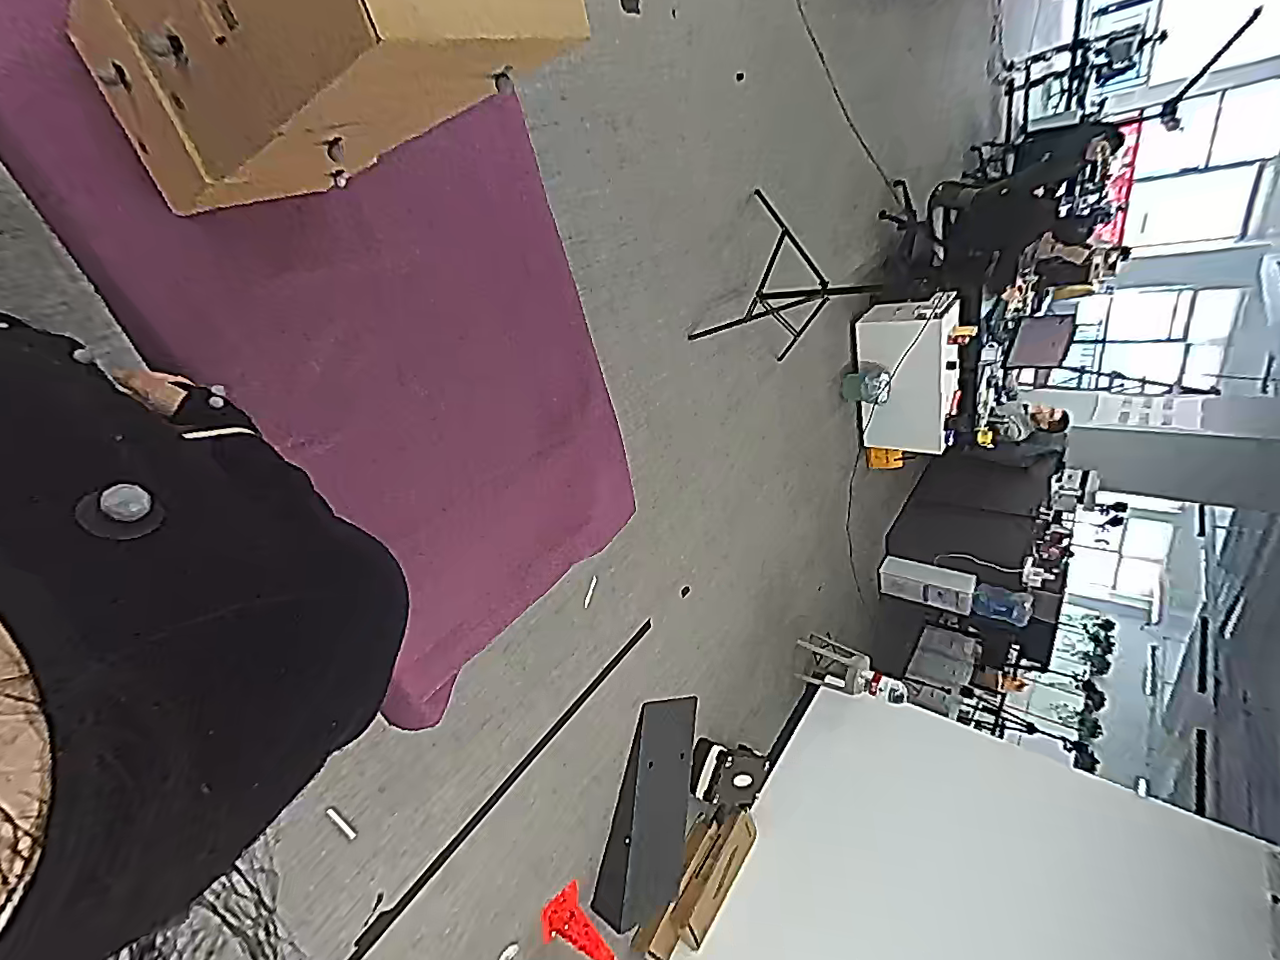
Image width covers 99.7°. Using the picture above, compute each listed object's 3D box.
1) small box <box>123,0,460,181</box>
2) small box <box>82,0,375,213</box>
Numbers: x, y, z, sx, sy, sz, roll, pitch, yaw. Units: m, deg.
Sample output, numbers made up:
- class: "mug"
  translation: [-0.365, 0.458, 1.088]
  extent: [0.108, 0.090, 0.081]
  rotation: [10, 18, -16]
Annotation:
- class: "small box"
  translation: [-0.298, -0.374, 0.462]
  extent: [0.179, 0.176, 0.168]
  rotation: [-42, 128, -36]
- class: "small box"
  translation: [-0.426, -0.393, 0.564]
  extent: [0.179, 0.176, 0.168]
  rotation: [-40, 127, -38]
